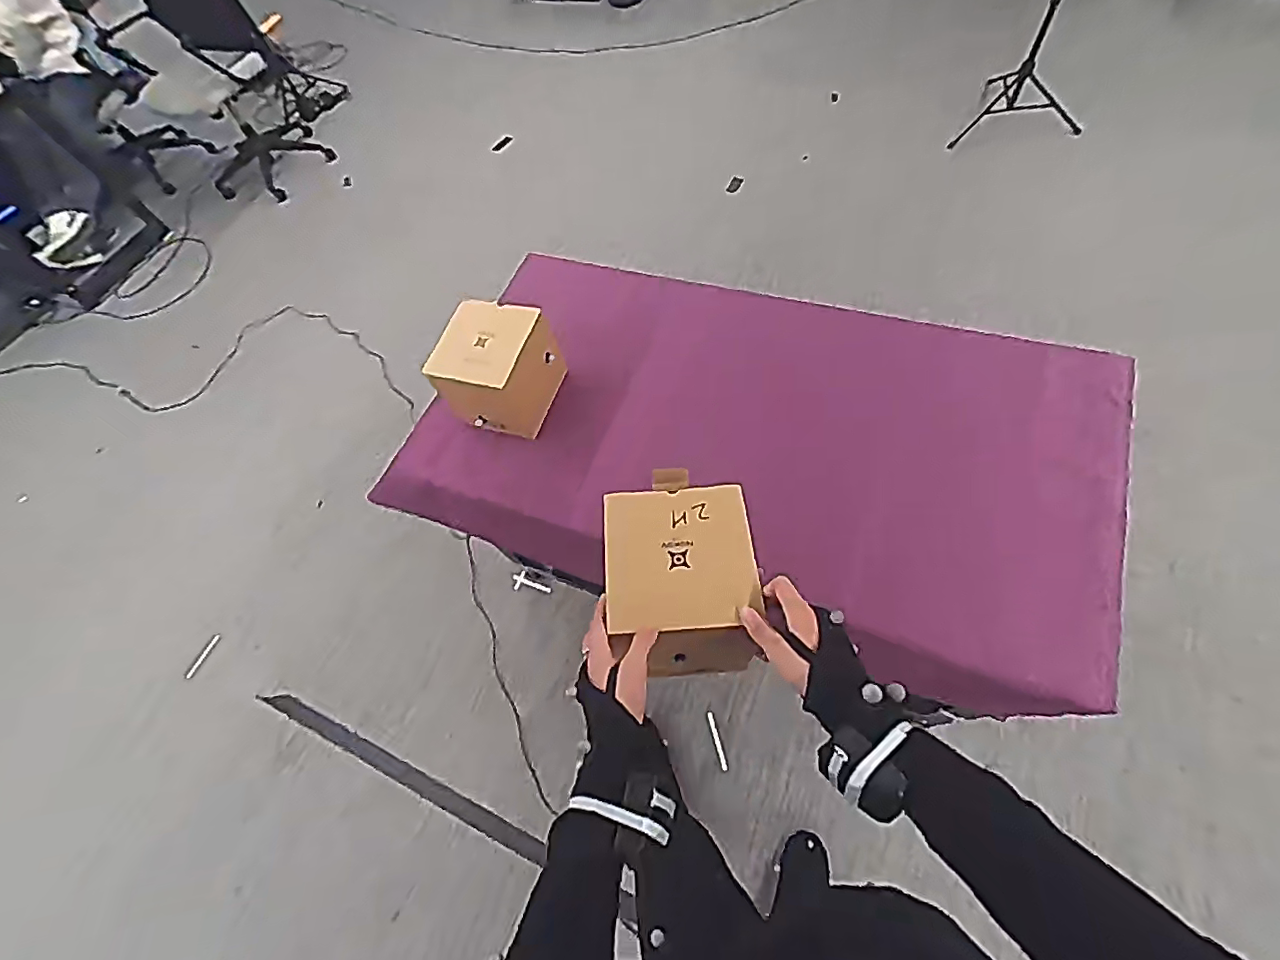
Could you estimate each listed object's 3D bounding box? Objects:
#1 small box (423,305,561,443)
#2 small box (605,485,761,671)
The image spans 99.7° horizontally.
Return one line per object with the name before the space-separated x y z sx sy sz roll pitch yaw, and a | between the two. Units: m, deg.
small box | -0.264 -0.197 1.019 0.168 0.176 0.179 13 65 16
small box | 0.047 0.129 0.671 0.168 0.176 0.179 -4 53 0
